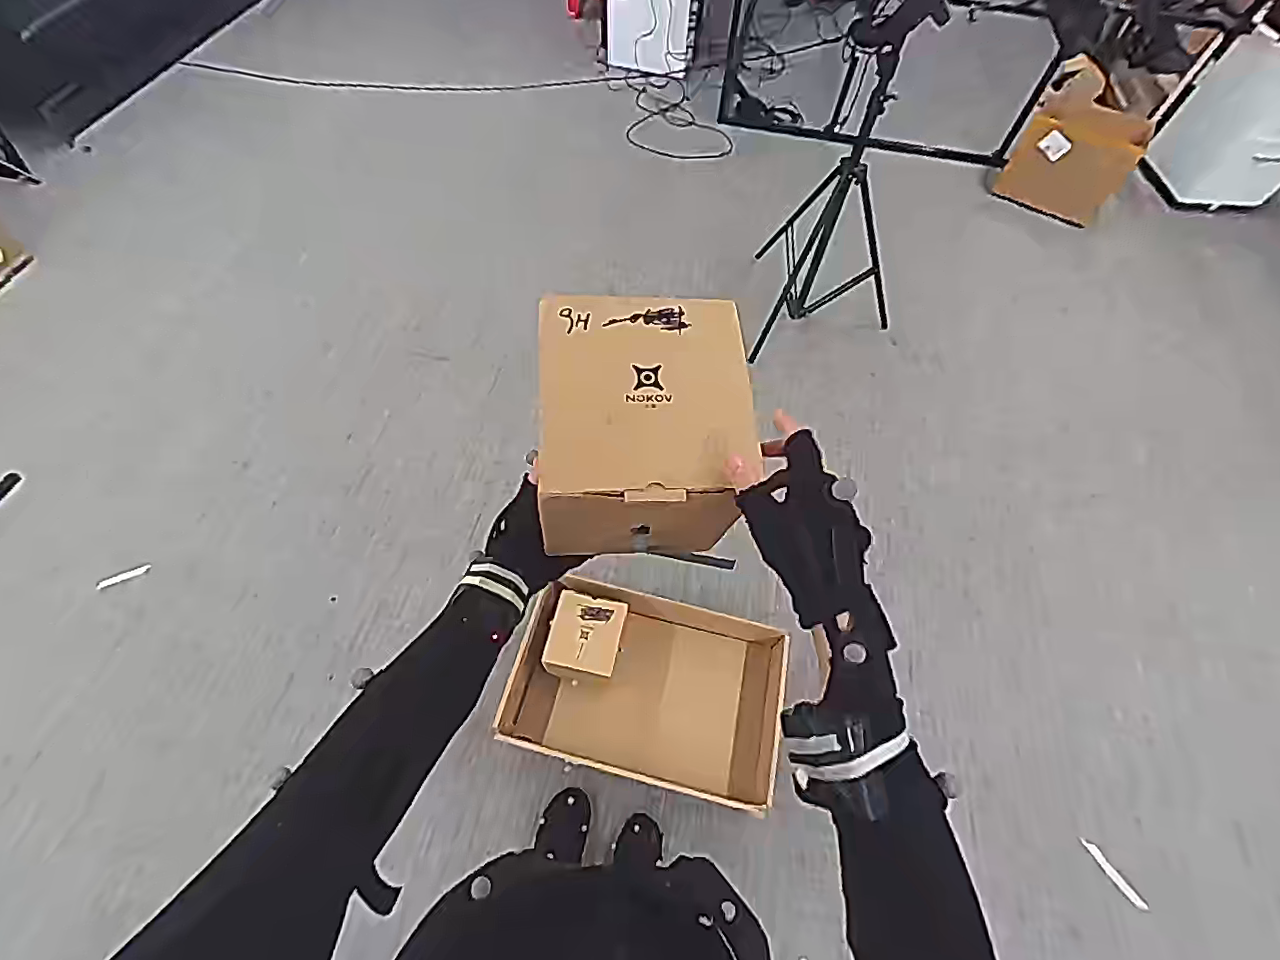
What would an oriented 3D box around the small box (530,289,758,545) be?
[{"bbox_3d":[-0.005,-0.043,0.484,0.168,0.176,0.179,0,67,-7],"label":"small box"}]
